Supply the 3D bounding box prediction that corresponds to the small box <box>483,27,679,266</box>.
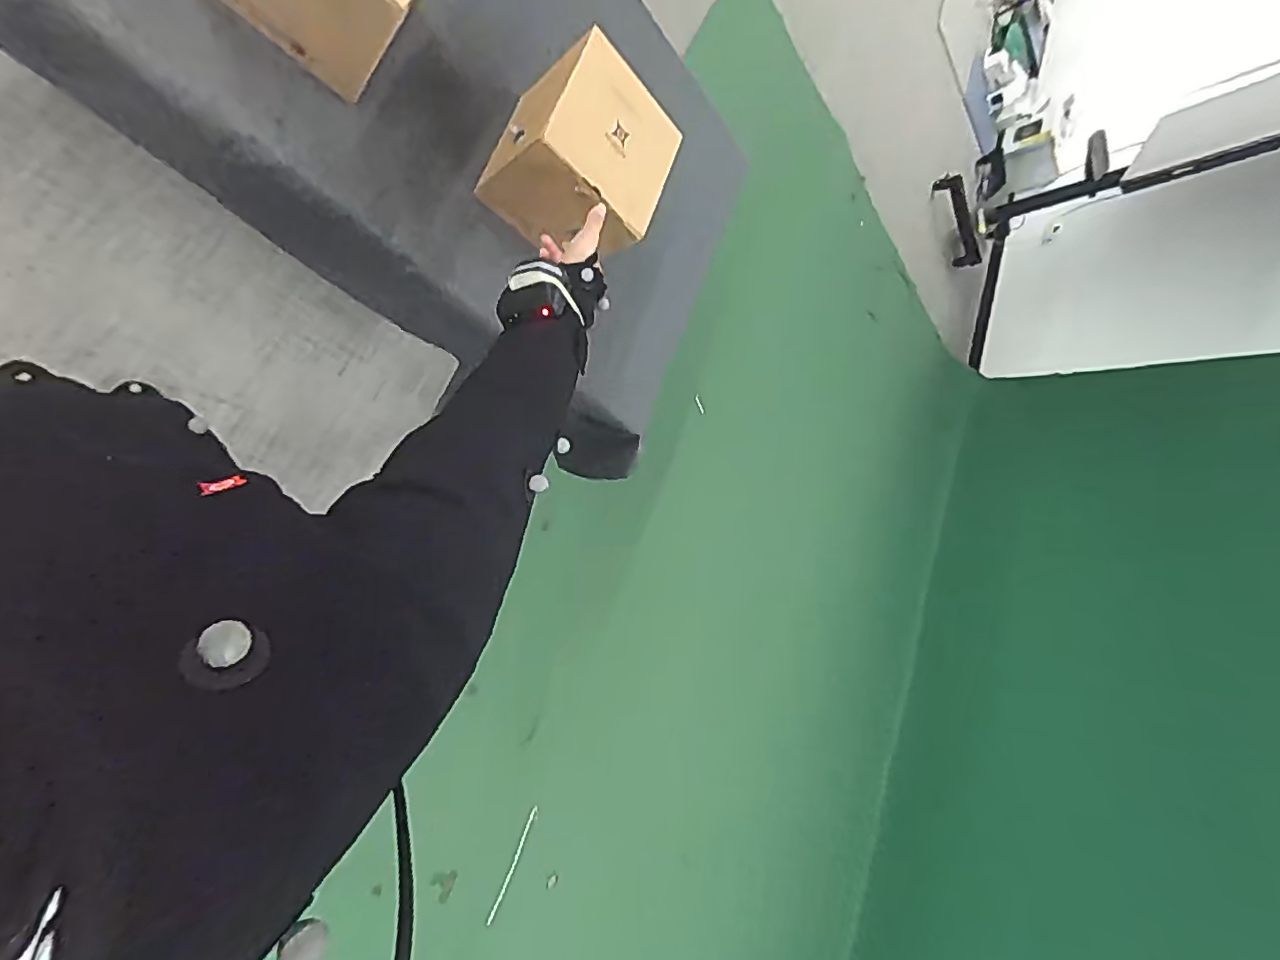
[{"bbox_3d":[-0.081,-0.414,0.710,0.168,0.176,0.179,31,70,-40],"label":"small box"}]
